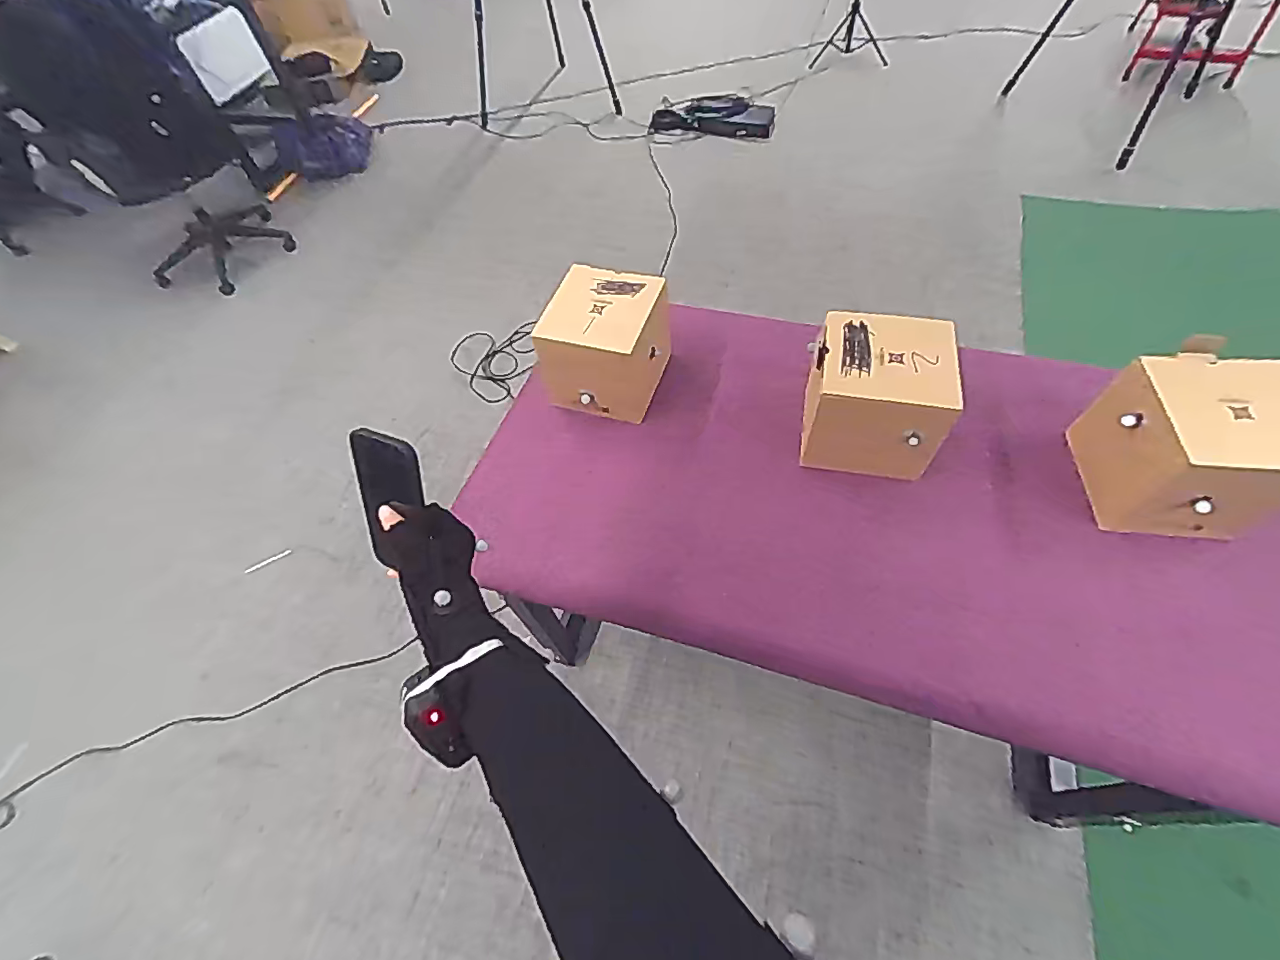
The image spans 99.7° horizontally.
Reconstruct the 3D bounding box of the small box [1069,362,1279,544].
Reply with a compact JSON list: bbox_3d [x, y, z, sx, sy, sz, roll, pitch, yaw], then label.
[{"bbox_3d":[0.713,-0.031,0.706,0.168,0.176,0.179,4,57,9],"label":"small box"}]

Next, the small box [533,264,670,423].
[{"bbox_3d":[-0.053,-0.224,0.902,0.168,0.176,0.179,15,61,14],"label":"small box"}]
